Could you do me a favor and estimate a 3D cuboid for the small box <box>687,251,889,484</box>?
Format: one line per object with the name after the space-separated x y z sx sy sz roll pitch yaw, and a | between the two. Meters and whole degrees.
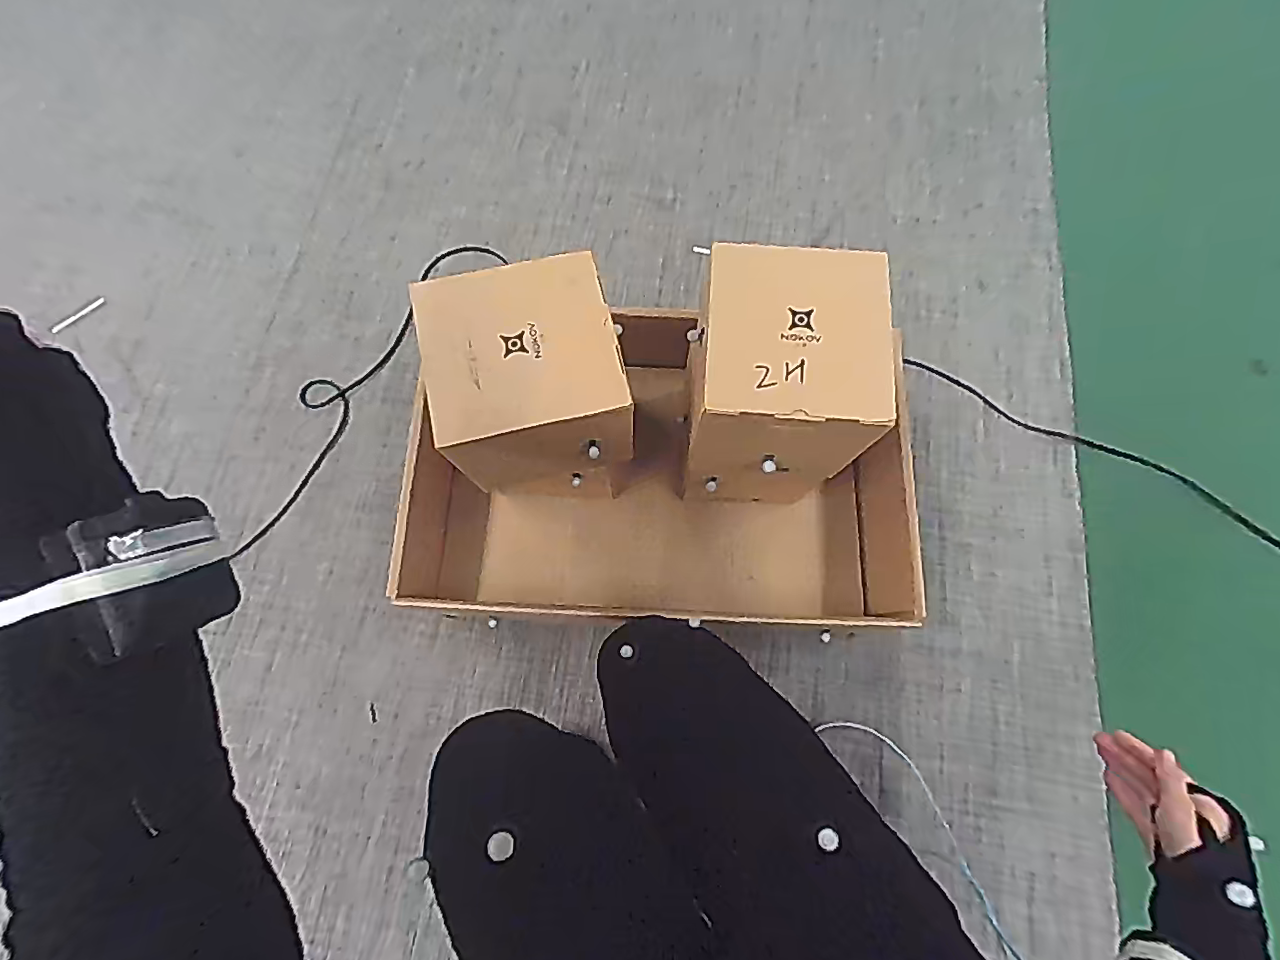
0.139 -0.106 0.562 0.168 0.176 0.179 4 75 2 | small box

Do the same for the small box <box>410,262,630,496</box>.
-0.113 -0.093 0.564 0.179 0.176 0.168 -13 76 -4 | small box
